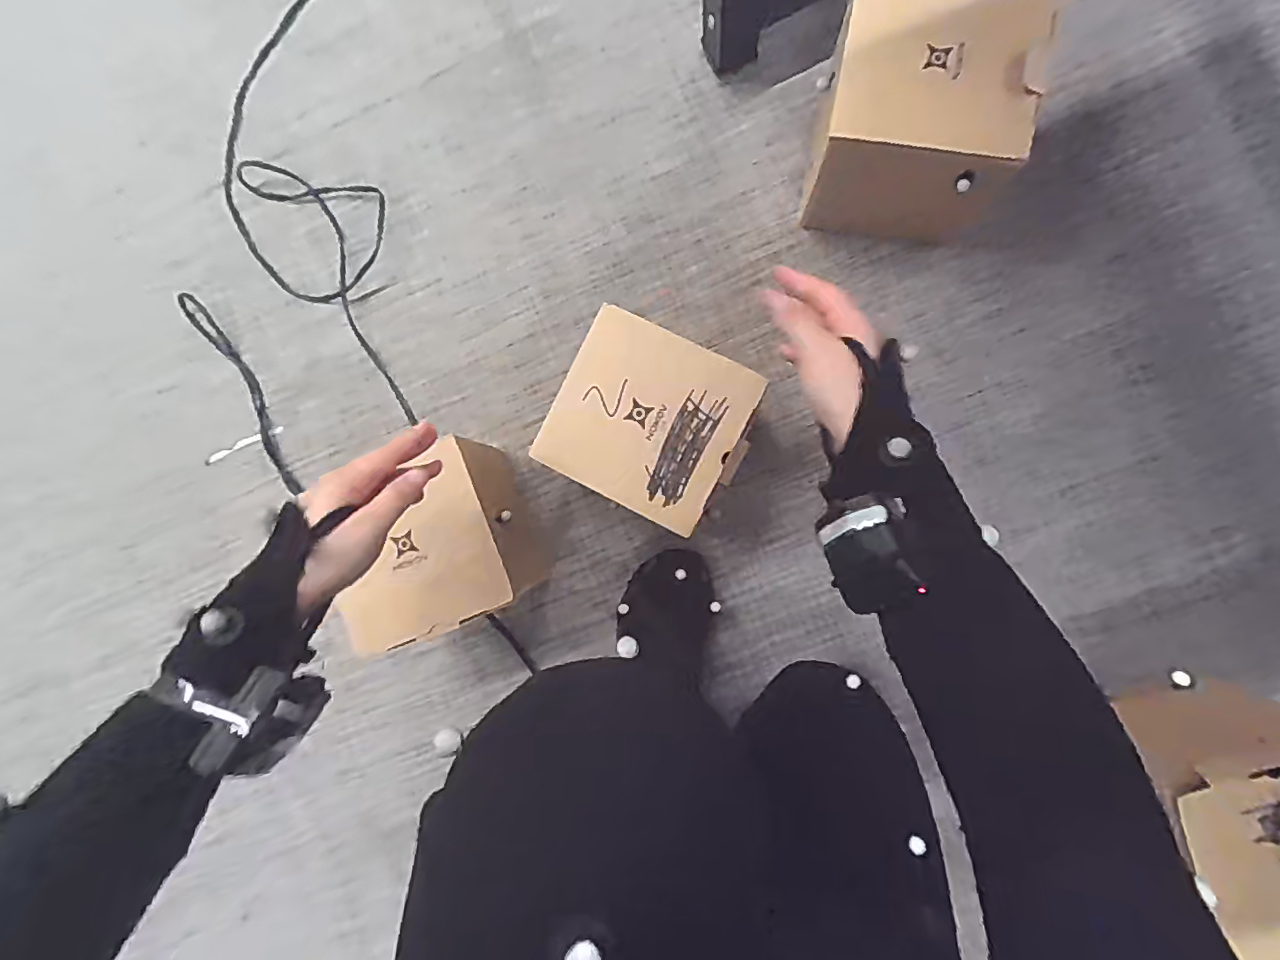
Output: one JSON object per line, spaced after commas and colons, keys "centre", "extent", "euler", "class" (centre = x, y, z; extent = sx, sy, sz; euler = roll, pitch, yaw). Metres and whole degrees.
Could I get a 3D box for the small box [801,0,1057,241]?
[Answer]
{"centre": [0.277, -0.371, 0.561], "extent": [0.179, 0.176, 0.168], "euler": [10, 90, 6], "class": "small box"}
